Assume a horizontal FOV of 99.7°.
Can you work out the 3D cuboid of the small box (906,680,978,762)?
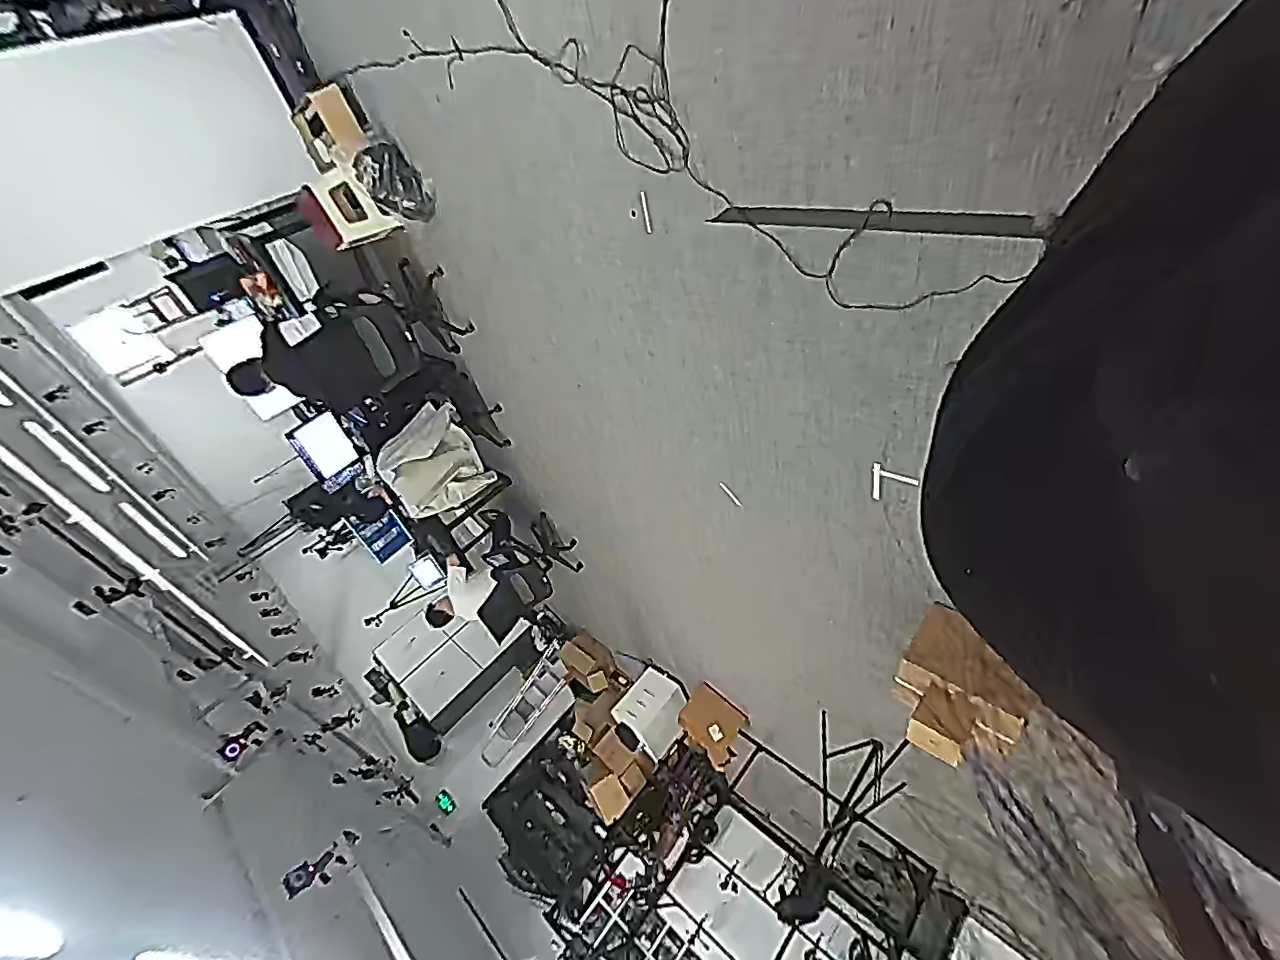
[{"bbox_3d":[1.085,0.859,1.940,0.179,0.176,0.168,24,142,39],"label":"small box"}]
